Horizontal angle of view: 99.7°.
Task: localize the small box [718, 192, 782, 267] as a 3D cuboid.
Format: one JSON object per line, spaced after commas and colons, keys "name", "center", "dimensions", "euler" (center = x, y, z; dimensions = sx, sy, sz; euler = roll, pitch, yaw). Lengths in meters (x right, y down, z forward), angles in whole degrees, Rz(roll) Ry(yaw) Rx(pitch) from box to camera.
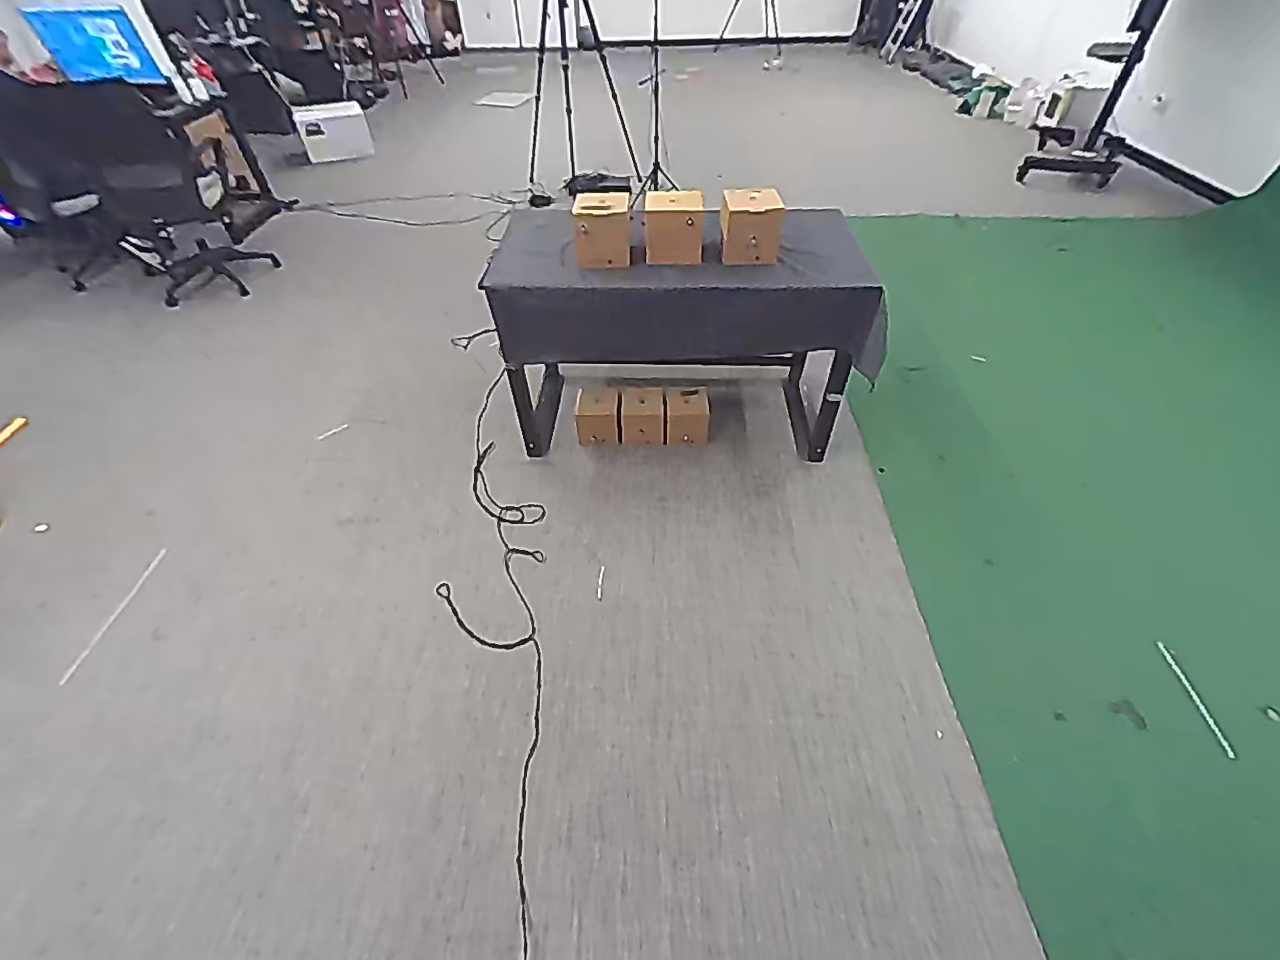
{"name": "small box", "center": [0.340, -0.785, 1.697], "dimensions": [0.168, 0.176, 0.179], "euler": [0, 46, 0]}
